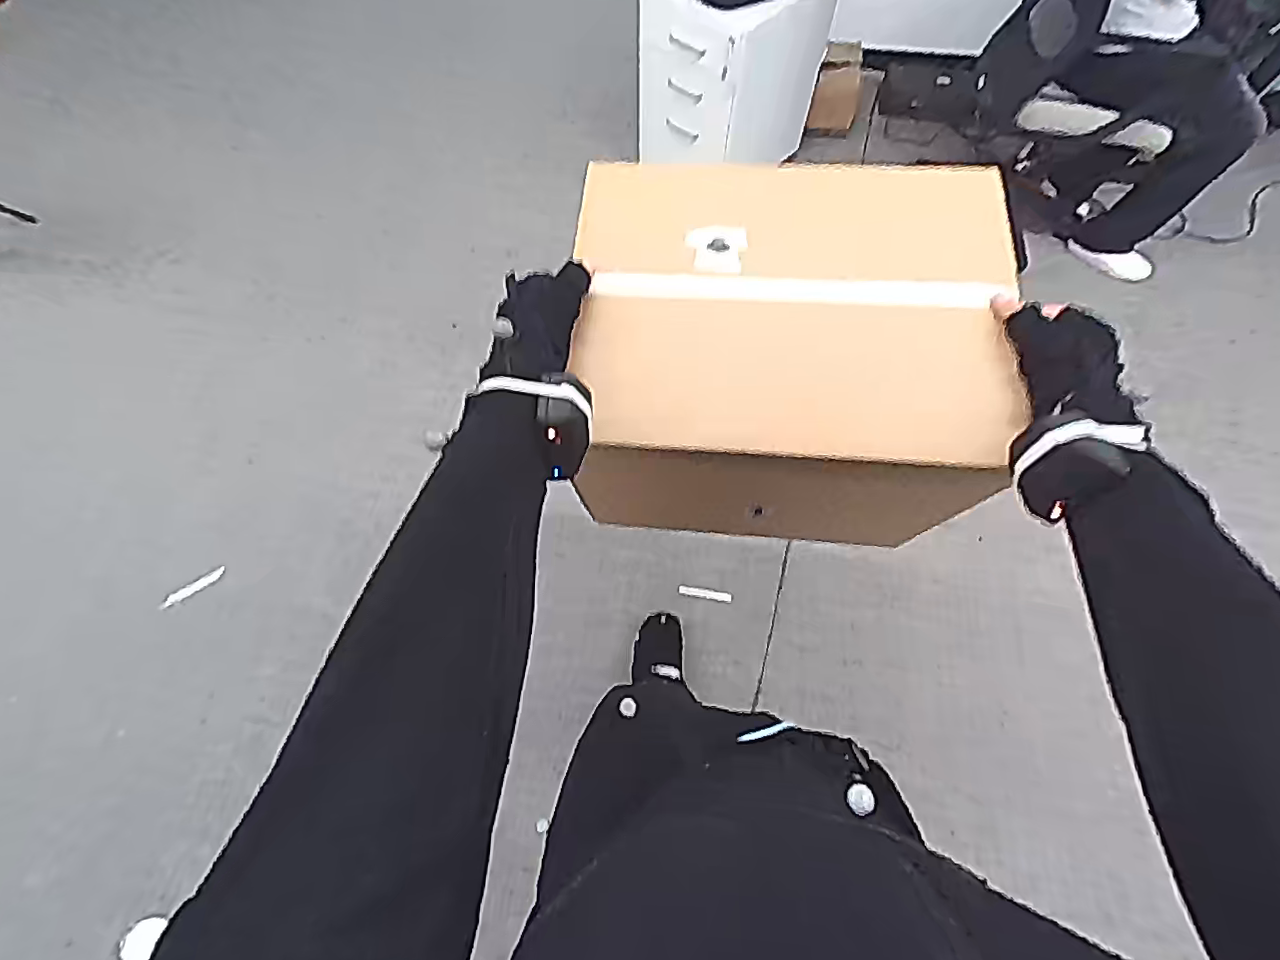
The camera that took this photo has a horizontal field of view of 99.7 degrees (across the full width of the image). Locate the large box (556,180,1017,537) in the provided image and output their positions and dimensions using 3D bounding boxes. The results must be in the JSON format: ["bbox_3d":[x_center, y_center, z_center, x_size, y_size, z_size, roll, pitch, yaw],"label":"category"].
[{"bbox_3d":[0.146,-0.120,0.657,0.408,0.320,0.320,4,71,7],"label":"large box"}]
